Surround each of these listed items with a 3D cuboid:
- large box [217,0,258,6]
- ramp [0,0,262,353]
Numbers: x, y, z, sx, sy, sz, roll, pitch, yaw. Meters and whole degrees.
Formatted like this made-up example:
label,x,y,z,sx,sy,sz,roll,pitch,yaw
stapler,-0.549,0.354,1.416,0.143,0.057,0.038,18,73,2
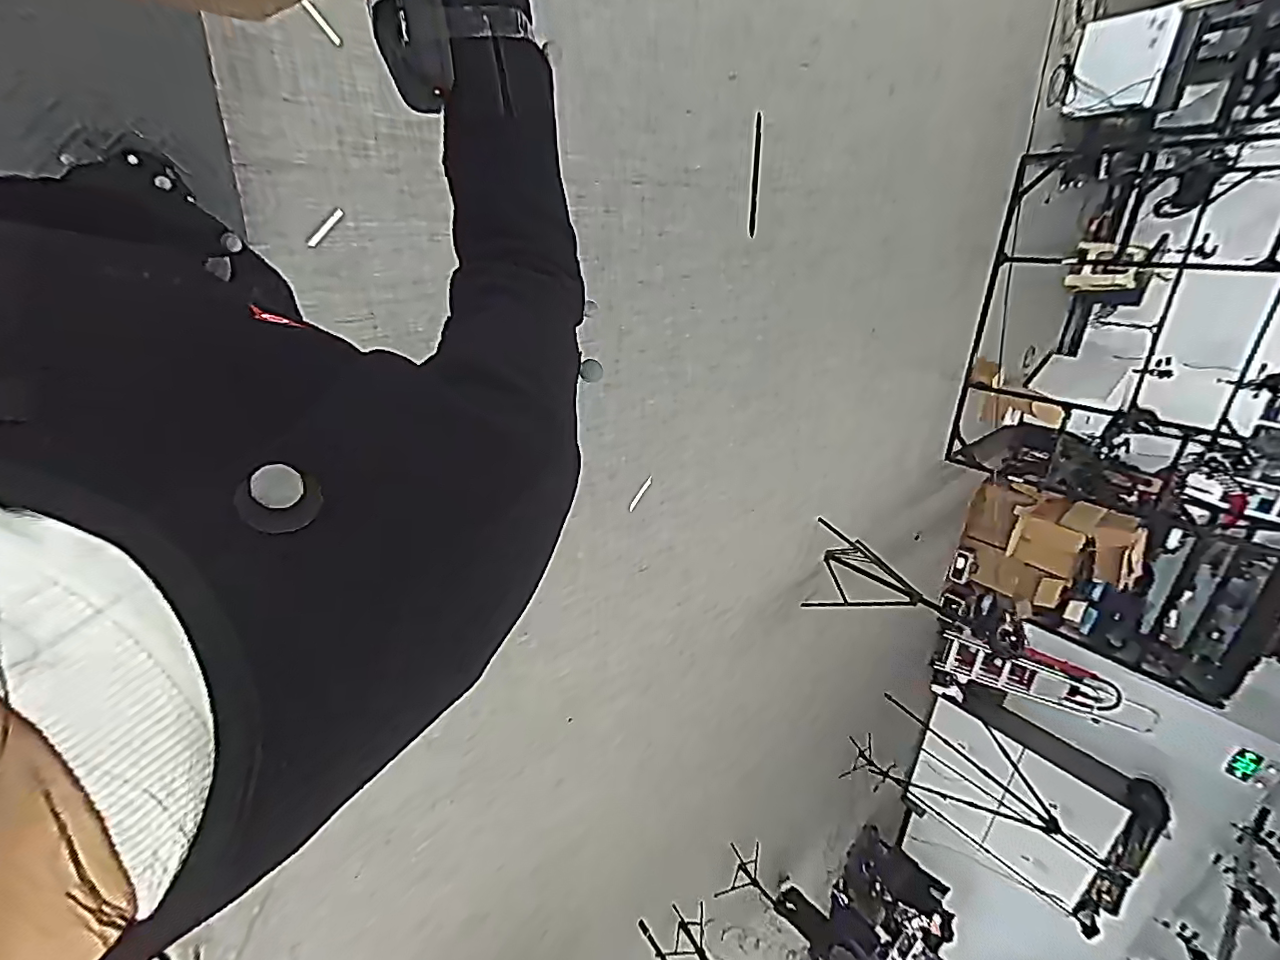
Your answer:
label,x,y,z,sx,sy,sz,roll,pitch,yaw
large box,-0.381,-0.429,0.192,0.408,0.320,0.320,-18,130,-37
ramp,-0.950,-0.684,0.805,0.509,0.206,0.991,-19,122,-37
